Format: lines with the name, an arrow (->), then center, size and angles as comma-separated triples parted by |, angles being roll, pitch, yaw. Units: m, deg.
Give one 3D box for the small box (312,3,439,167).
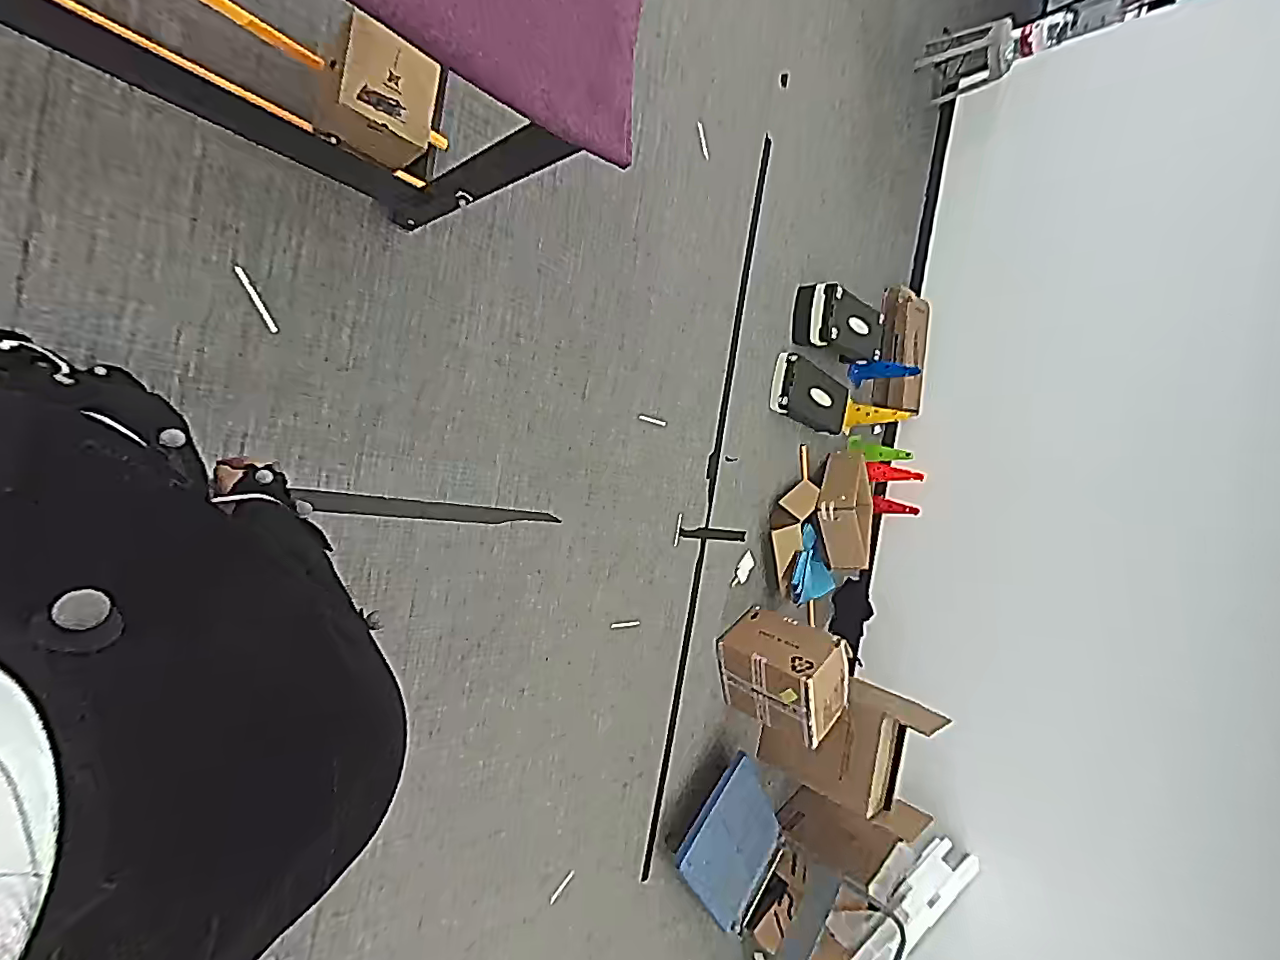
small box -> -0.525, -0.757, 1.065 | 0.168, 0.176, 0.179 | 10, 90, -46
